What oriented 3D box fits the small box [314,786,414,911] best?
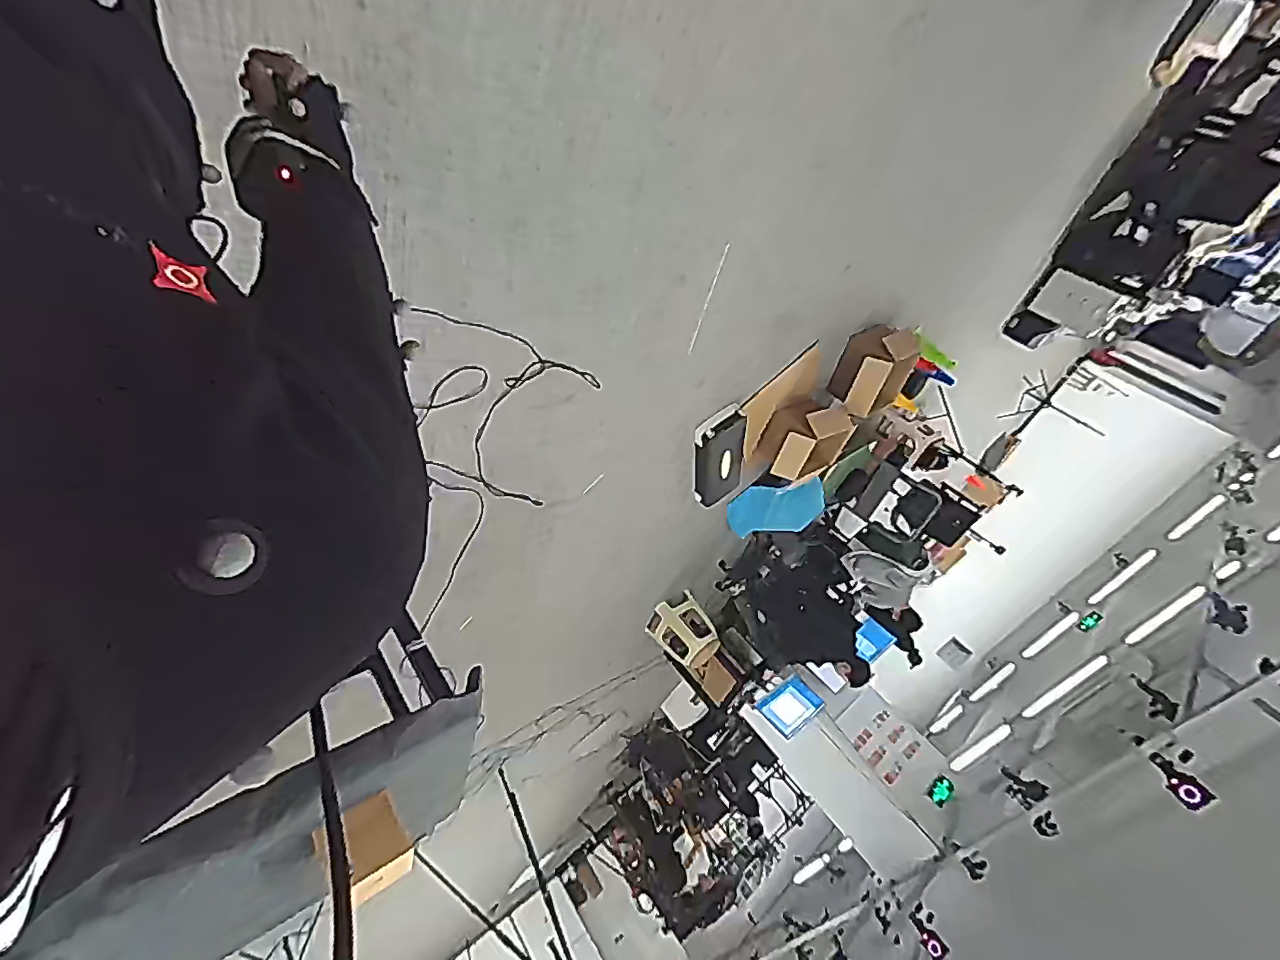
[{"bbox_3d":[-0.683,0.904,1.340,0.179,0.176,0.168,-16,141,-38],"label":"small box"}]
